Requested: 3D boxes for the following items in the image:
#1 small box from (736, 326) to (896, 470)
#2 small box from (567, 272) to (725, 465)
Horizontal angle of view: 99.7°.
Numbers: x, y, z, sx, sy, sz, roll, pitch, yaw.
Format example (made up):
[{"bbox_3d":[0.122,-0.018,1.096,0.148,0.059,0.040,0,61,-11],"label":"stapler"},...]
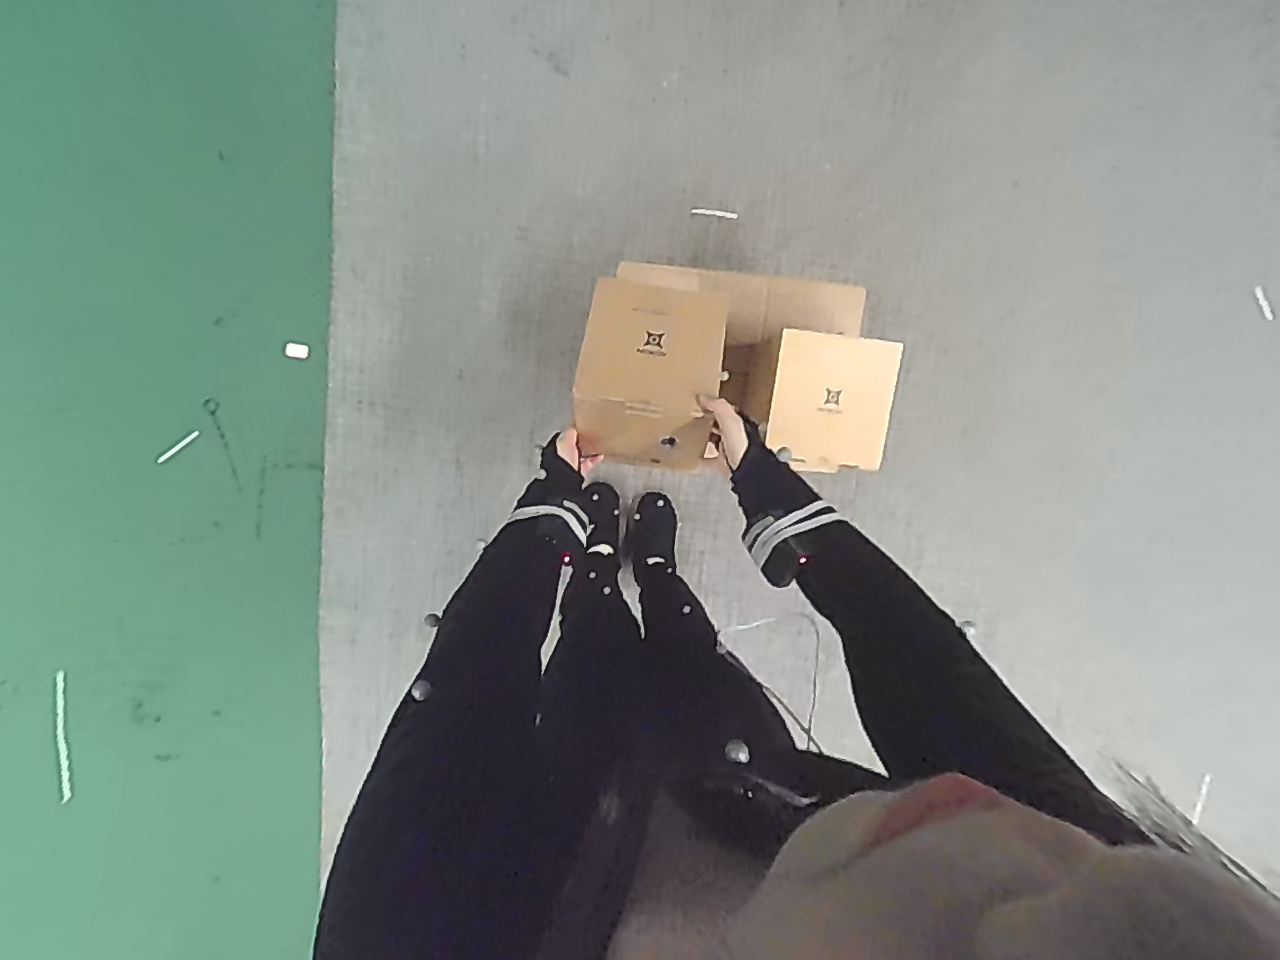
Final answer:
[{"bbox_3d":[0.249,-0.122,0.808,0.168,0.176,0.179,7,100,-3],"label":"small box"},{"bbox_3d":[0.008,-0.136,0.710,0.168,0.176,0.179,10,68,1],"label":"small box"}]
